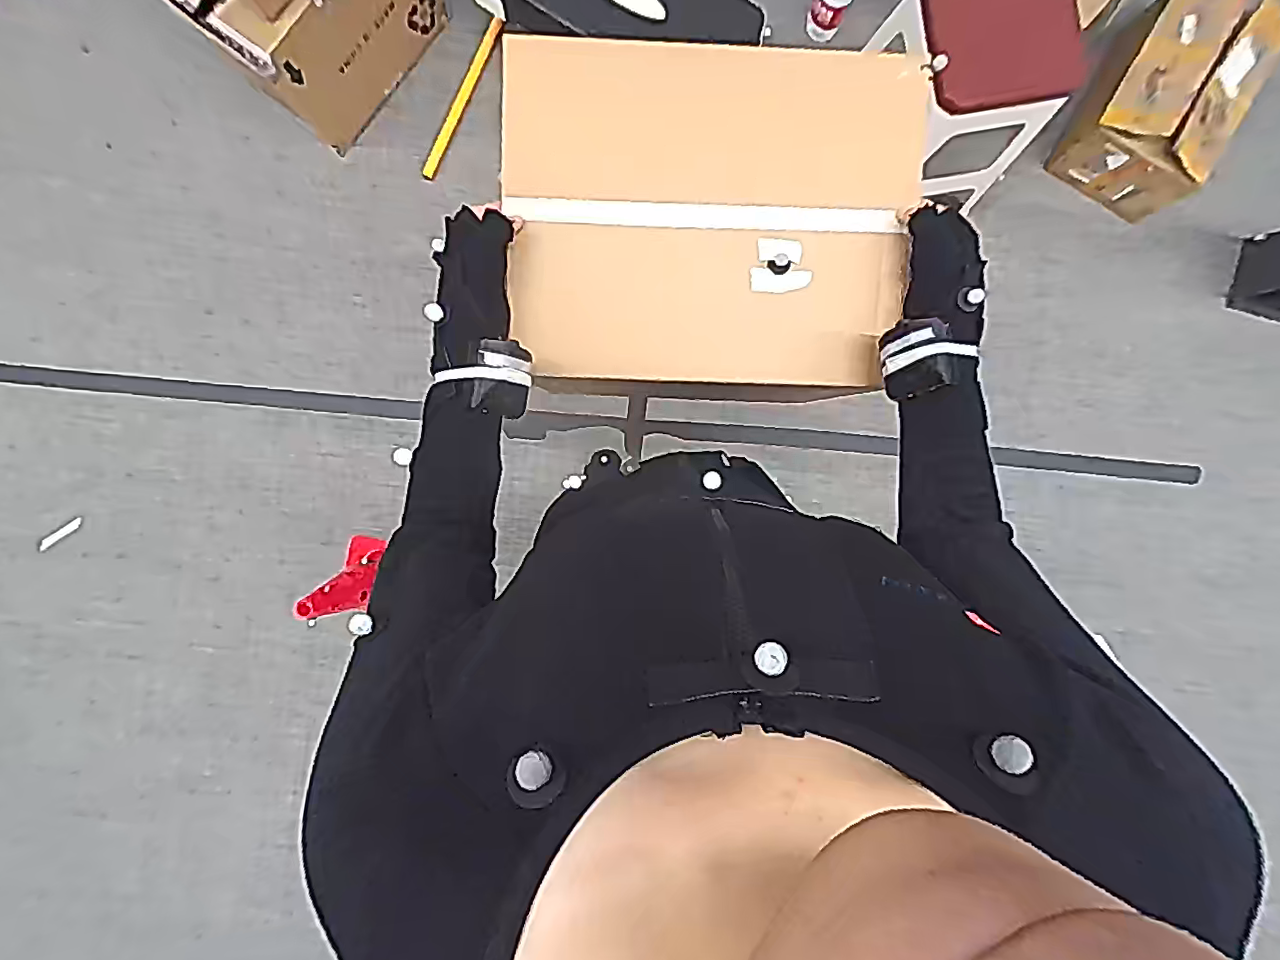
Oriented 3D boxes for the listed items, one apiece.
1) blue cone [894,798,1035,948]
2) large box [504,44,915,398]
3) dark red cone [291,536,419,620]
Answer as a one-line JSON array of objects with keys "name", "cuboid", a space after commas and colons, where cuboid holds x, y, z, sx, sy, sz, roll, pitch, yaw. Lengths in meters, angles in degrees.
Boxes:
[{"name": "blue cone", "cuboid": [0.813, 0.986, 1.345, 0.192, 0.380, 0.193, 9, 90, -2]}, {"name": "large box", "cuboid": [0.061, -0.270, 0.678, 0.408, 0.320, 0.320, 1, 95, -2]}, {"name": "dark red cone", "cuboid": [-0.690, 0.260, 1.270, 0.201, 0.394, 0.202, 11, 90, -2]}]
